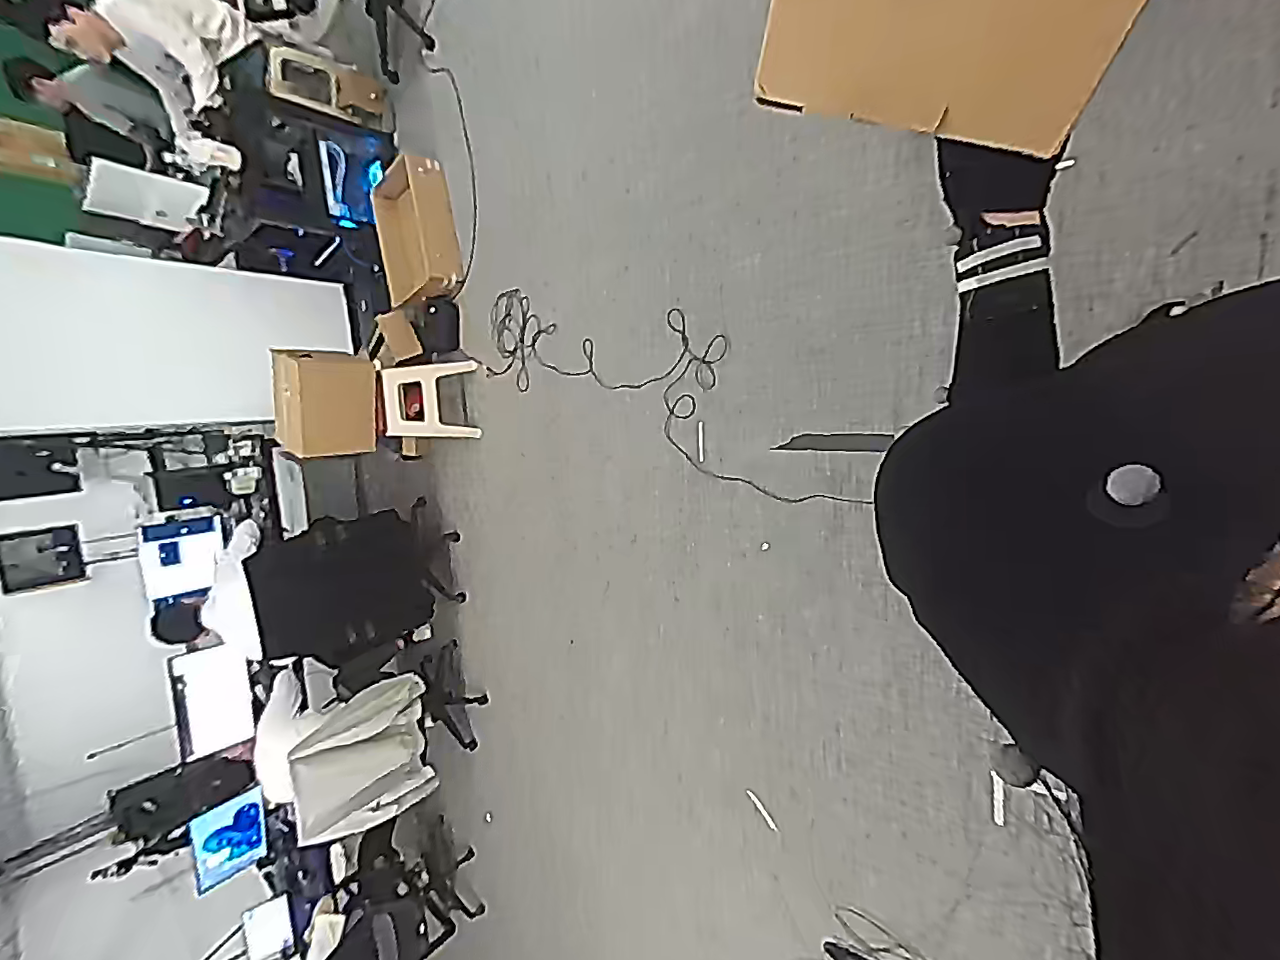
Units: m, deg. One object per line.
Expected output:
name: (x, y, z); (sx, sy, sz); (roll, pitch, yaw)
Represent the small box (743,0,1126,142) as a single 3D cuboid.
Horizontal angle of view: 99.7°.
small box: (0.169, -0.303, 0.282); (0.168, 0.179, 0.176); (22, 138, 14)
